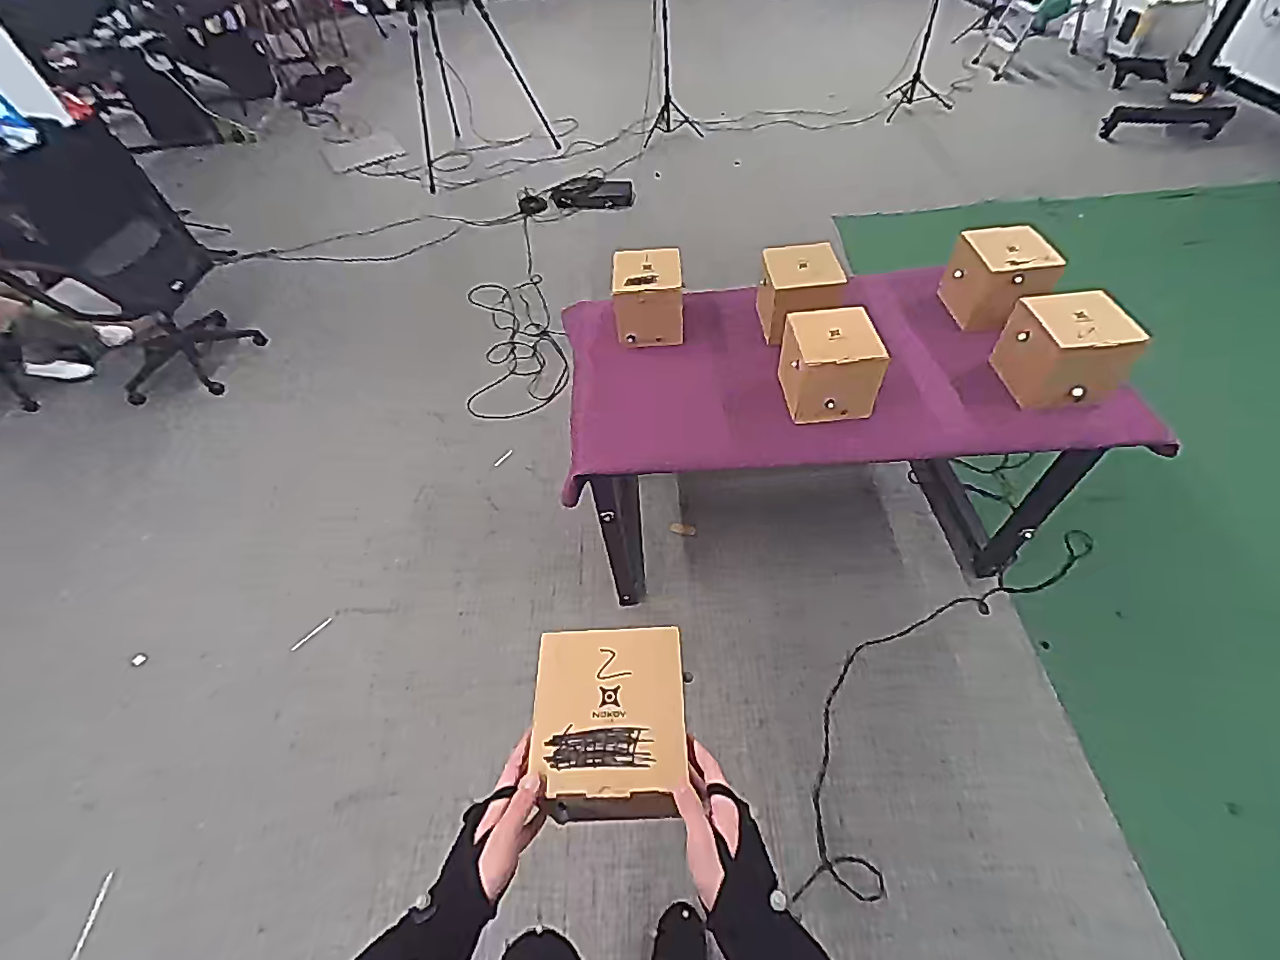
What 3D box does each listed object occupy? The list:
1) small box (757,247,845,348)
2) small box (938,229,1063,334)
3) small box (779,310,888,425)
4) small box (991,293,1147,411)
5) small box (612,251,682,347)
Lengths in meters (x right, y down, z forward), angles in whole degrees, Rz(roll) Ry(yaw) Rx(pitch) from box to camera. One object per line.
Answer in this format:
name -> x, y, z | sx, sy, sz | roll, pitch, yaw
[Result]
small box -> 0.388, -0.451, 1.341 | 0.168, 0.176, 0.179 | -5, 52, 3
small box -> 0.859, -0.480, 1.312 | 0.168, 0.176, 0.179 | -6, 51, 3
small box -> 0.407, -0.243, 1.174 | 0.168, 0.176, 0.179 | -5, 51, 1
small box -> 0.882, -0.266, 1.137 | 0.168, 0.176, 0.179 | -4, 51, 4
small box -> 0.022, -0.454, 1.375 | 0.168, 0.176, 0.179 | -2, 53, 3
